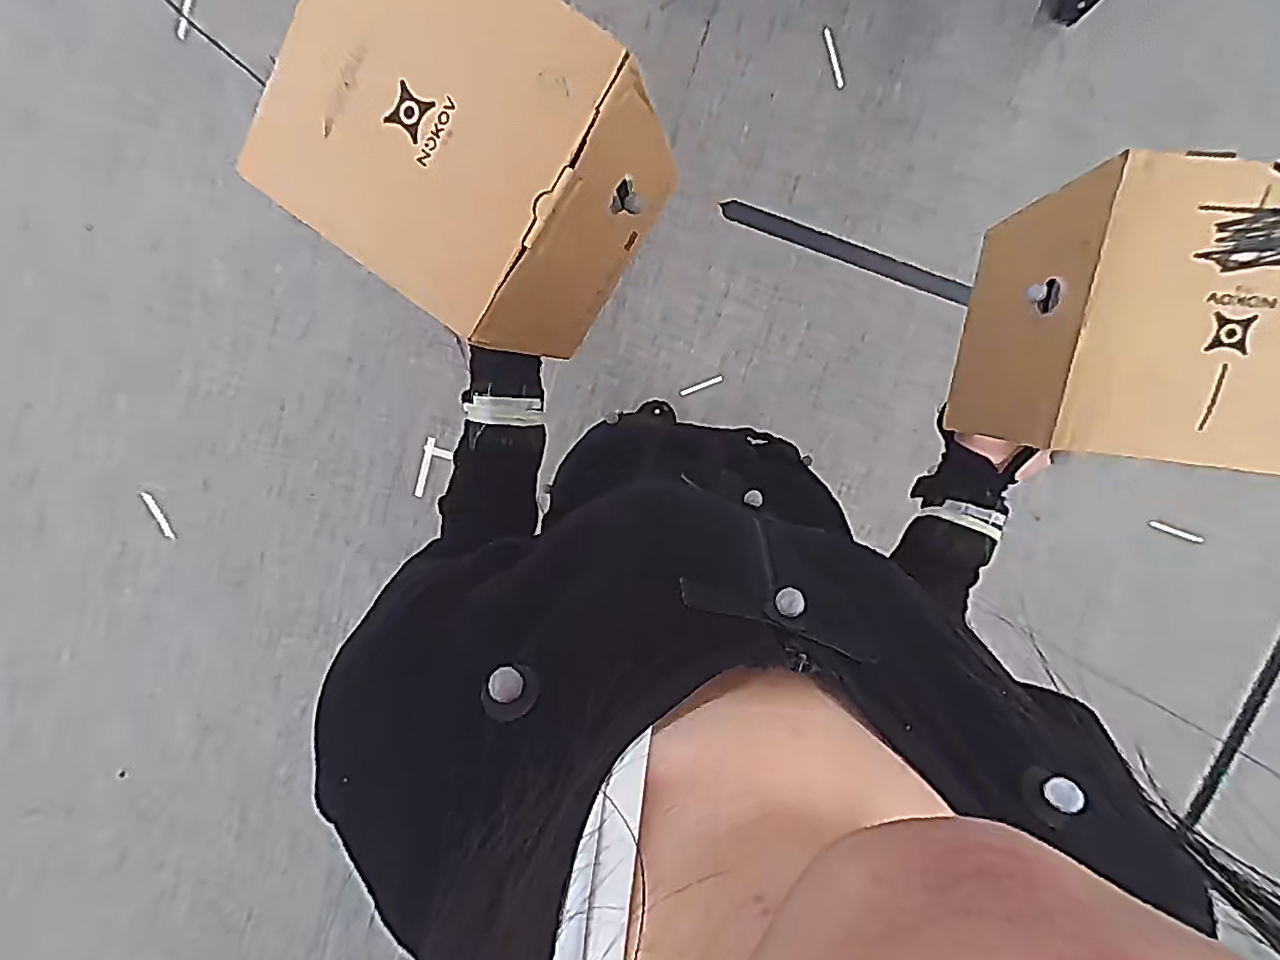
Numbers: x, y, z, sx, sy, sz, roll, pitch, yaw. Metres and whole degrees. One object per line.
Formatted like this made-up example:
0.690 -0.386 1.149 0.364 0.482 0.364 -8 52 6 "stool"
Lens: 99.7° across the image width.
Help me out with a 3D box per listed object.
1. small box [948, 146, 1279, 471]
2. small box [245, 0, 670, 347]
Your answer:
0.357 -0.111 0.398 0.168 0.176 0.179 8 101 7 "small box"
-0.099 -0.204 0.363 0.179 0.176 0.168 36 104 5 "small box"
